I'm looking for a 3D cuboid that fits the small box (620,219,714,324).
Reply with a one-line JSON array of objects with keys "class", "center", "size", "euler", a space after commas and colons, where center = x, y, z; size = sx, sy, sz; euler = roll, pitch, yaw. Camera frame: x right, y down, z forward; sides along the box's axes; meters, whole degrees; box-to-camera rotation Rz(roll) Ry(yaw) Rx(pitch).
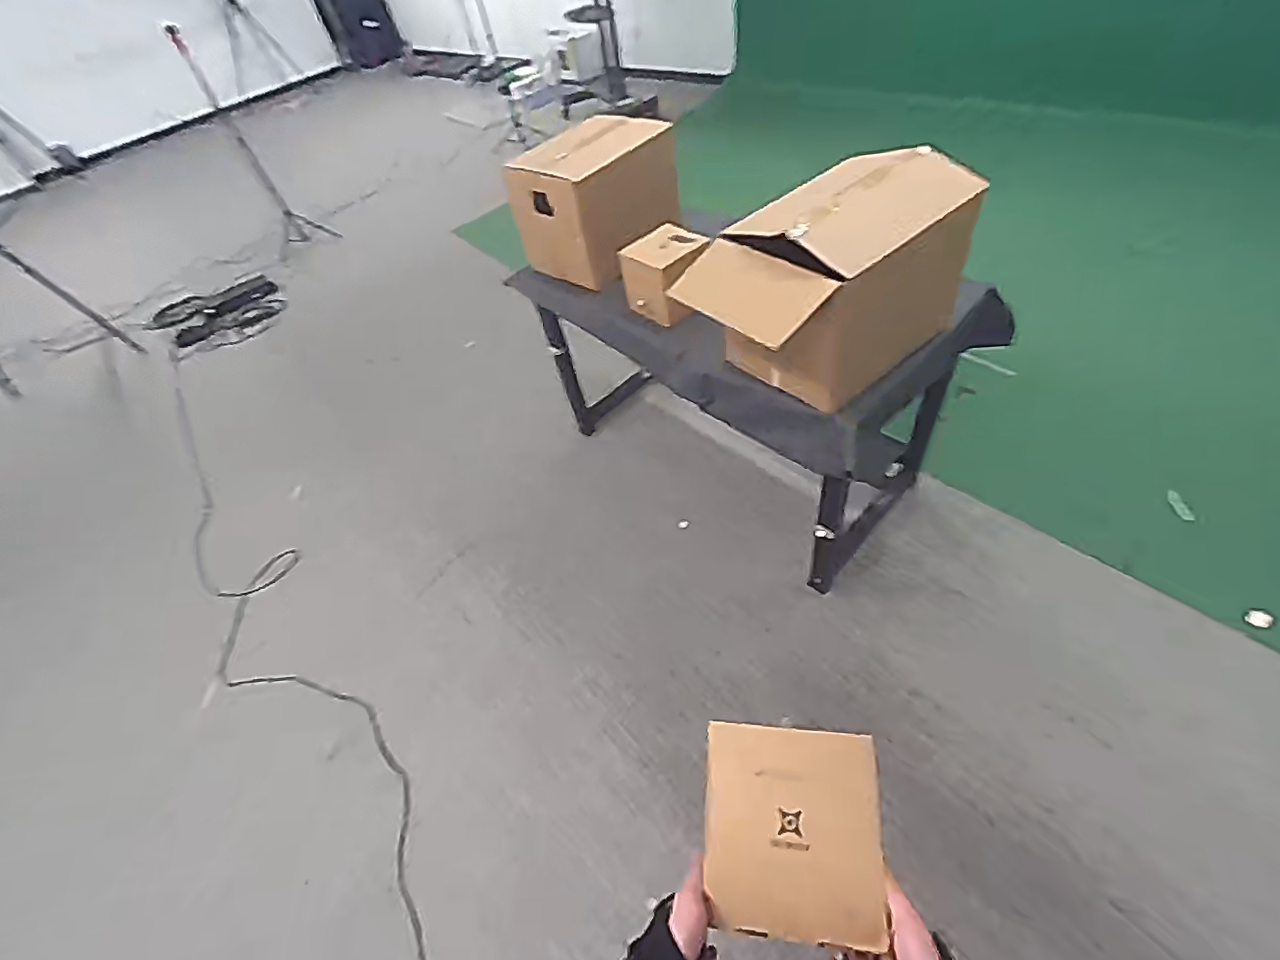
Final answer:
[{"class": "small box", "center": [0.074, -0.535, 1.390], "size": [0.179, 0.176, 0.168], "euler": [-38, 53, -18]}]
